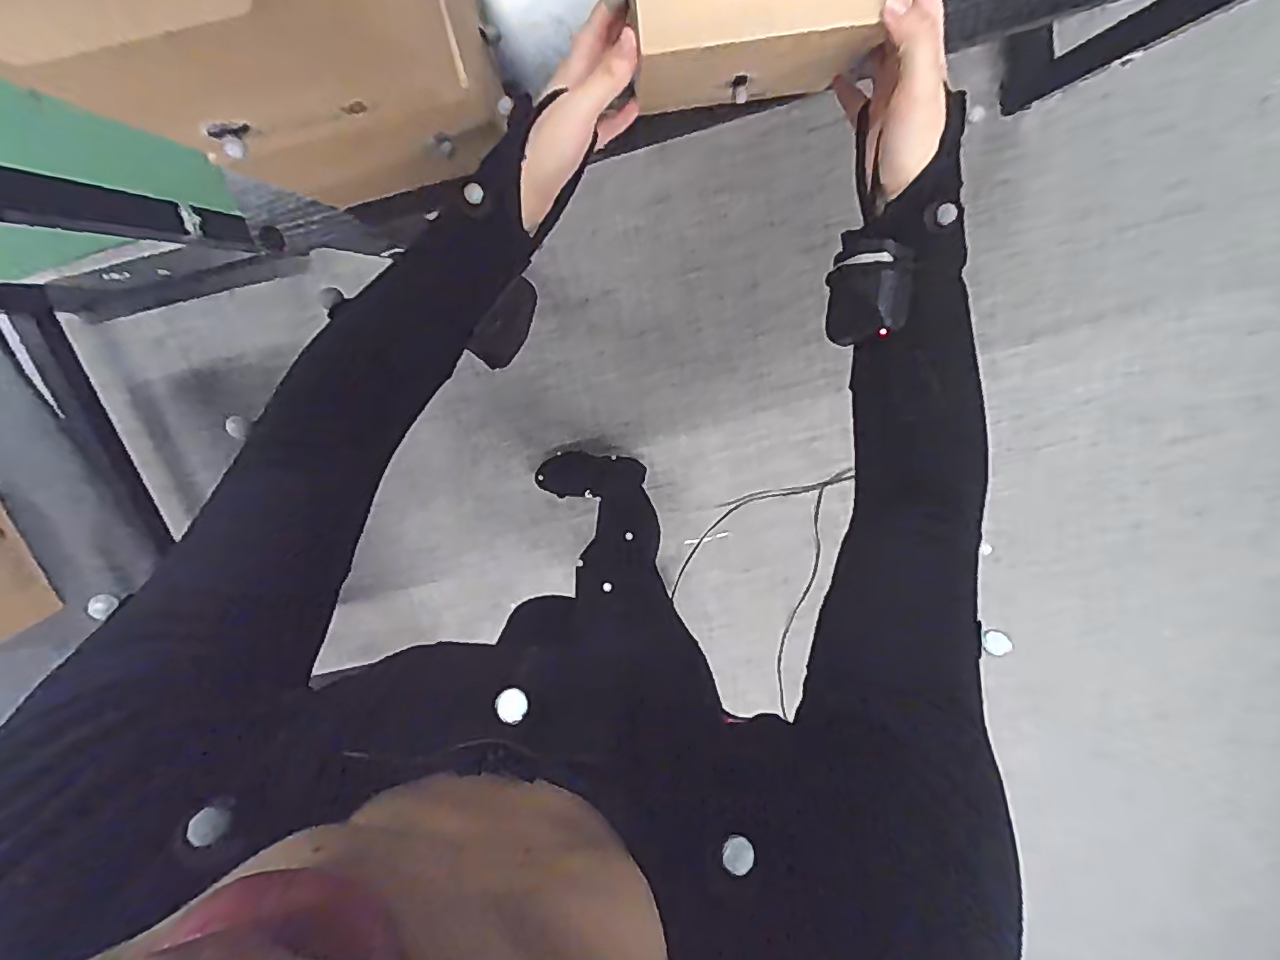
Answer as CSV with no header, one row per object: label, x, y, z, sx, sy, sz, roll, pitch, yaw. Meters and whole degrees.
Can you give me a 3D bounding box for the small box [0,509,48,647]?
small box,-0.755,0.119,0.526,0.179,0.176,0.168,-11,108,4
